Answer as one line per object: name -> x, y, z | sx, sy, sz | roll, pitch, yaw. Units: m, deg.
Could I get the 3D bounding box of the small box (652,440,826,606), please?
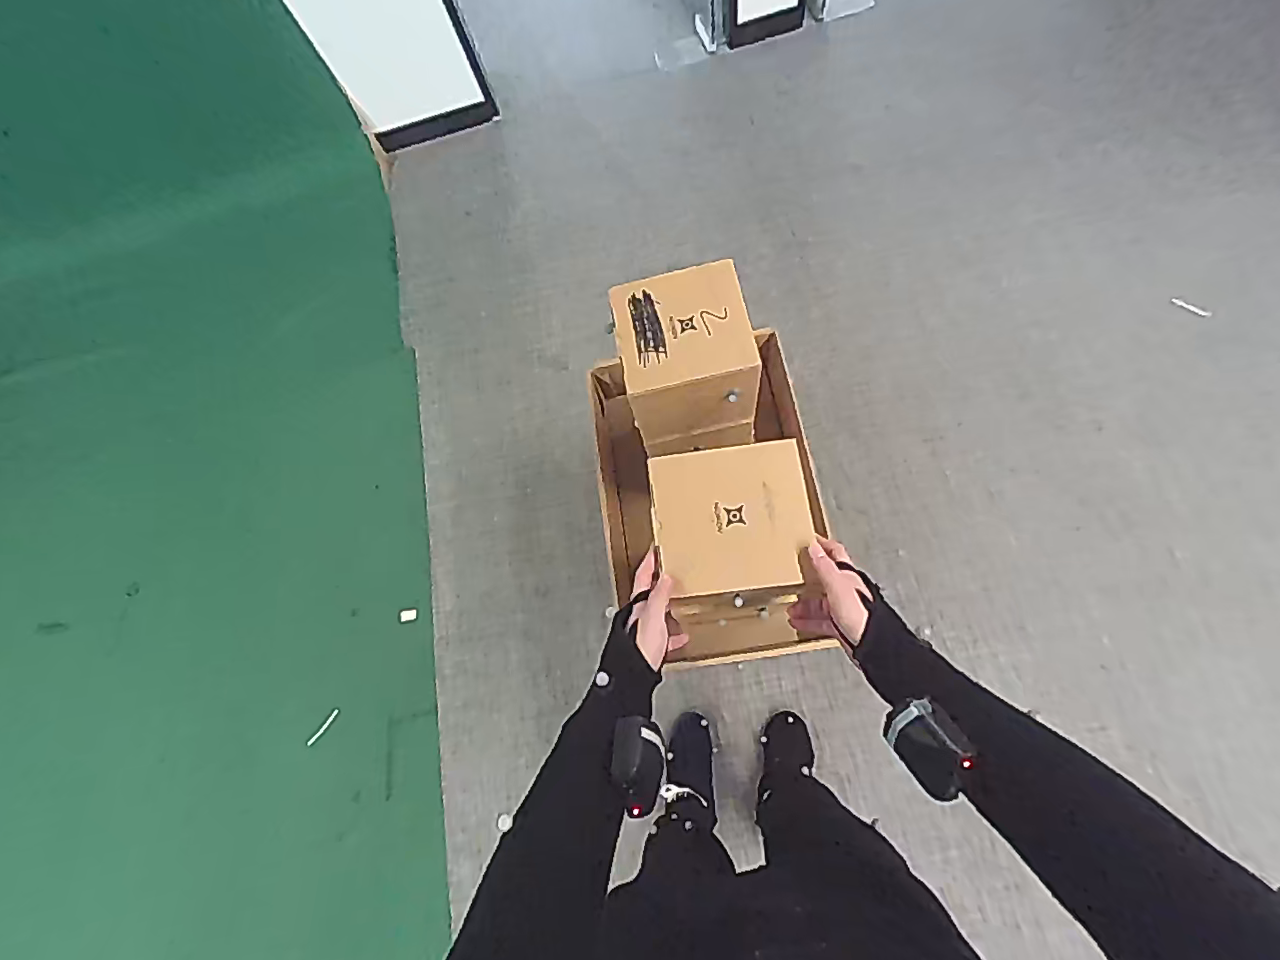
small box -> 0.115, 0.064, 0.676 | 0.179, 0.176, 0.168 | -7, 73, 4

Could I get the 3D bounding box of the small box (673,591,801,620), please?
small box -> 0.137, 0.122, 0.839 | 0.179, 0.176, 0.168 | -8, 71, 6

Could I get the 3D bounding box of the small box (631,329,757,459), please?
small box -> 0.093, -0.129, 0.926 | 0.179, 0.176, 0.168 | -12, 72, 6
